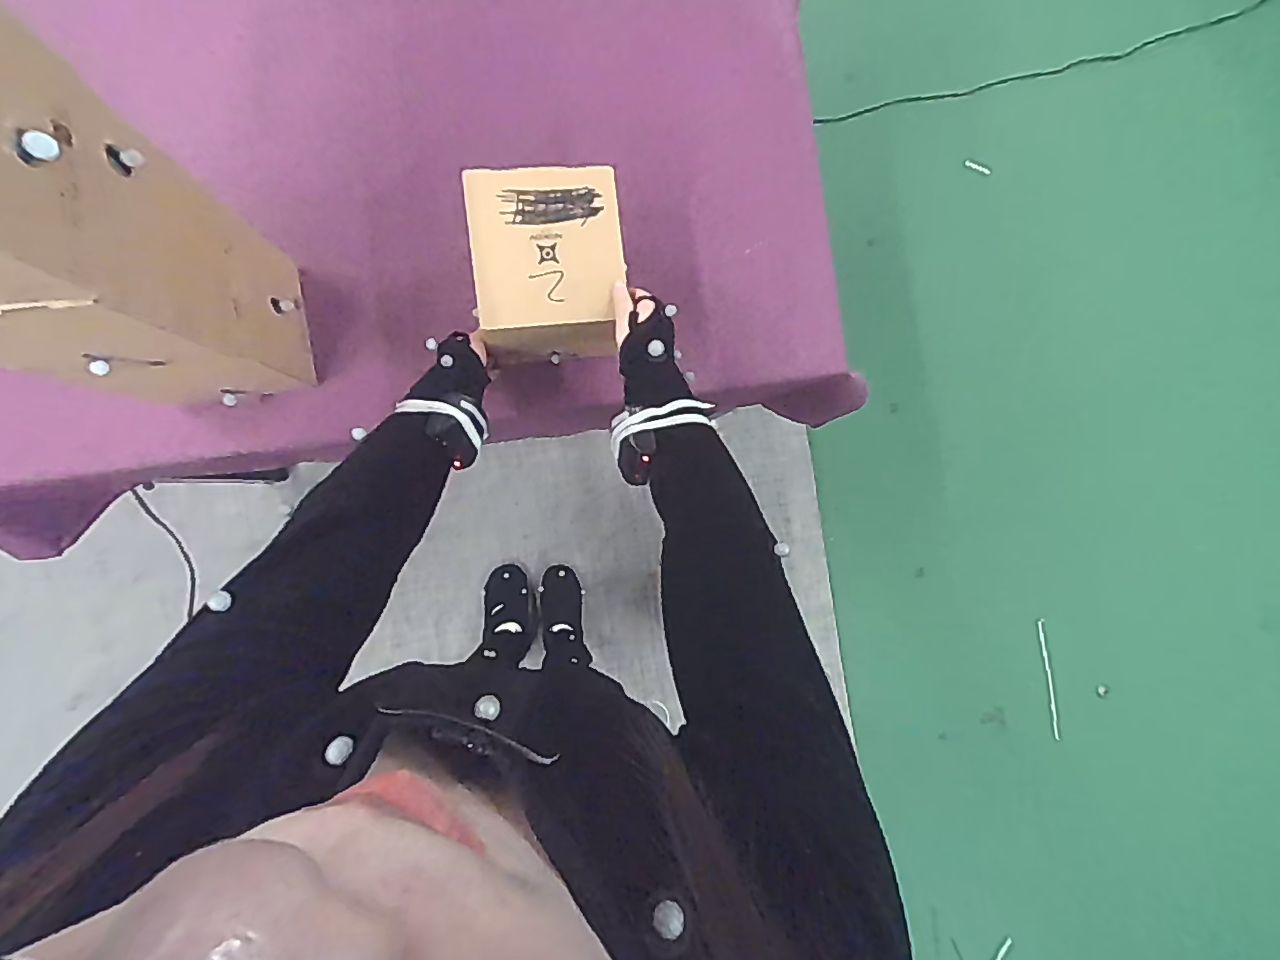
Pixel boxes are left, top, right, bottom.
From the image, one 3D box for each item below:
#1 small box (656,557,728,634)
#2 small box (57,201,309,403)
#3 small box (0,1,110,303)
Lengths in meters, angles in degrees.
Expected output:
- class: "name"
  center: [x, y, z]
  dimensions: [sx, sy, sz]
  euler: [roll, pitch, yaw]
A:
- class: "small box"
  center: [0.140, 0.303, 1.444]
  dimensions: [0.179, 0.176, 0.168]
  euler: [-5, 90, -9]
- class: "small box"
  center: [-0.507, -0.190, 0.616]
  dimensions: [0.179, 0.176, 0.168]
  euler: [-10, 90, -9]
- class: "small box"
  center: [-0.455, -0.201, 0.290]
  dimensions: [0.179, 0.176, 0.168]
  euler: [-7, 90, -9]
